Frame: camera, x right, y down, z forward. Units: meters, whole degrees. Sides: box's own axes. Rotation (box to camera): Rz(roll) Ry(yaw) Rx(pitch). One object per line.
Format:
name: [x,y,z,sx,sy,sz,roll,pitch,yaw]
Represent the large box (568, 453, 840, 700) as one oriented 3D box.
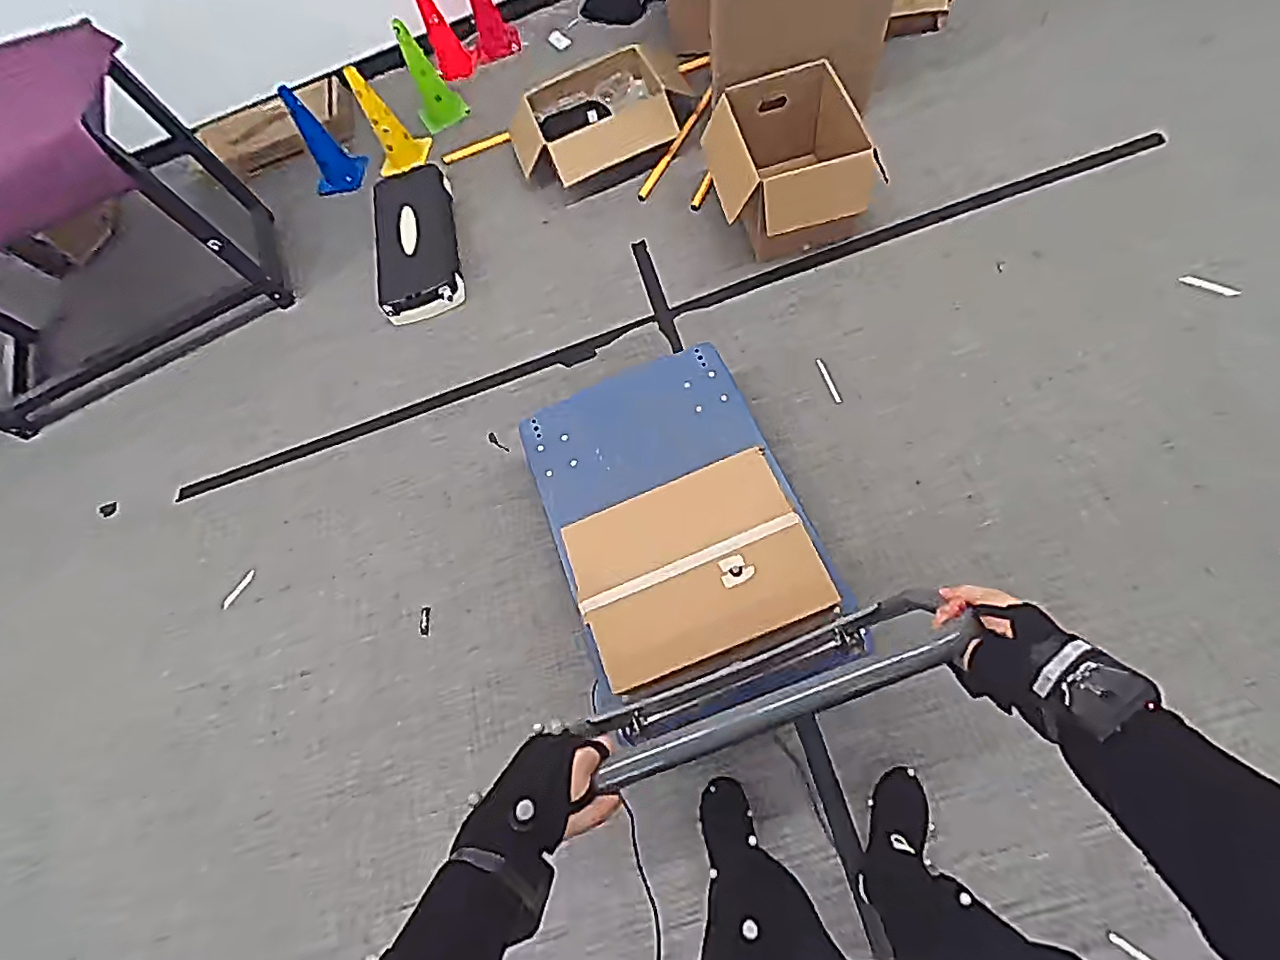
large box: [0.122,0.210,1.080,0.408,0.320,0.320,-23,66,1]
